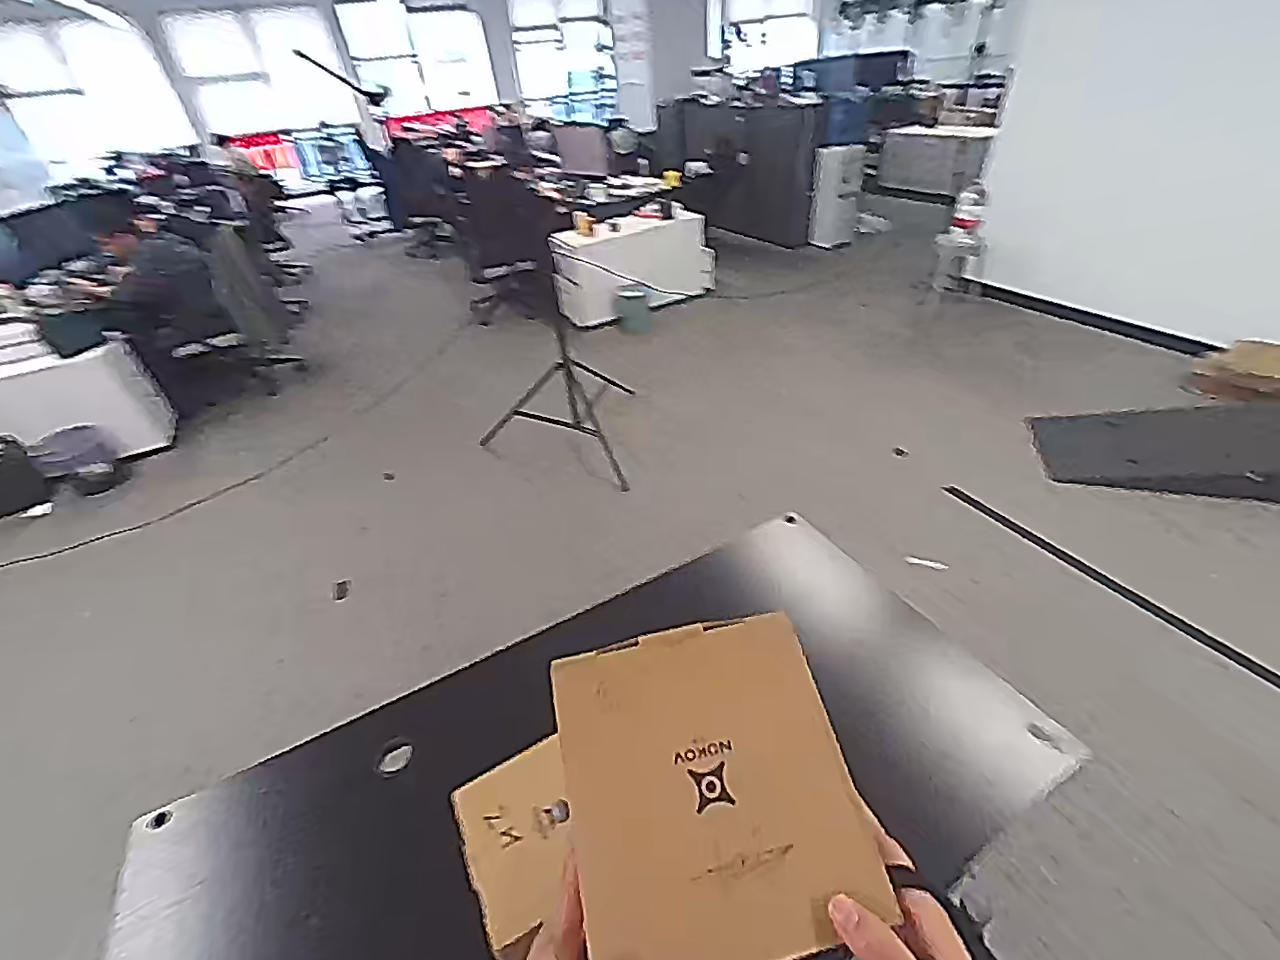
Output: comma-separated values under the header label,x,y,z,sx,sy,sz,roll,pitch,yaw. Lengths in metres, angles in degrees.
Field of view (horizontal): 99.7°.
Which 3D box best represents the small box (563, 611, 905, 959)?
label,x,y,z,sx,sy,sz,roll,pitch,yaw
small box,0.041,0.216,0.385,0.168,0.176,0.179,-9,59,-8
